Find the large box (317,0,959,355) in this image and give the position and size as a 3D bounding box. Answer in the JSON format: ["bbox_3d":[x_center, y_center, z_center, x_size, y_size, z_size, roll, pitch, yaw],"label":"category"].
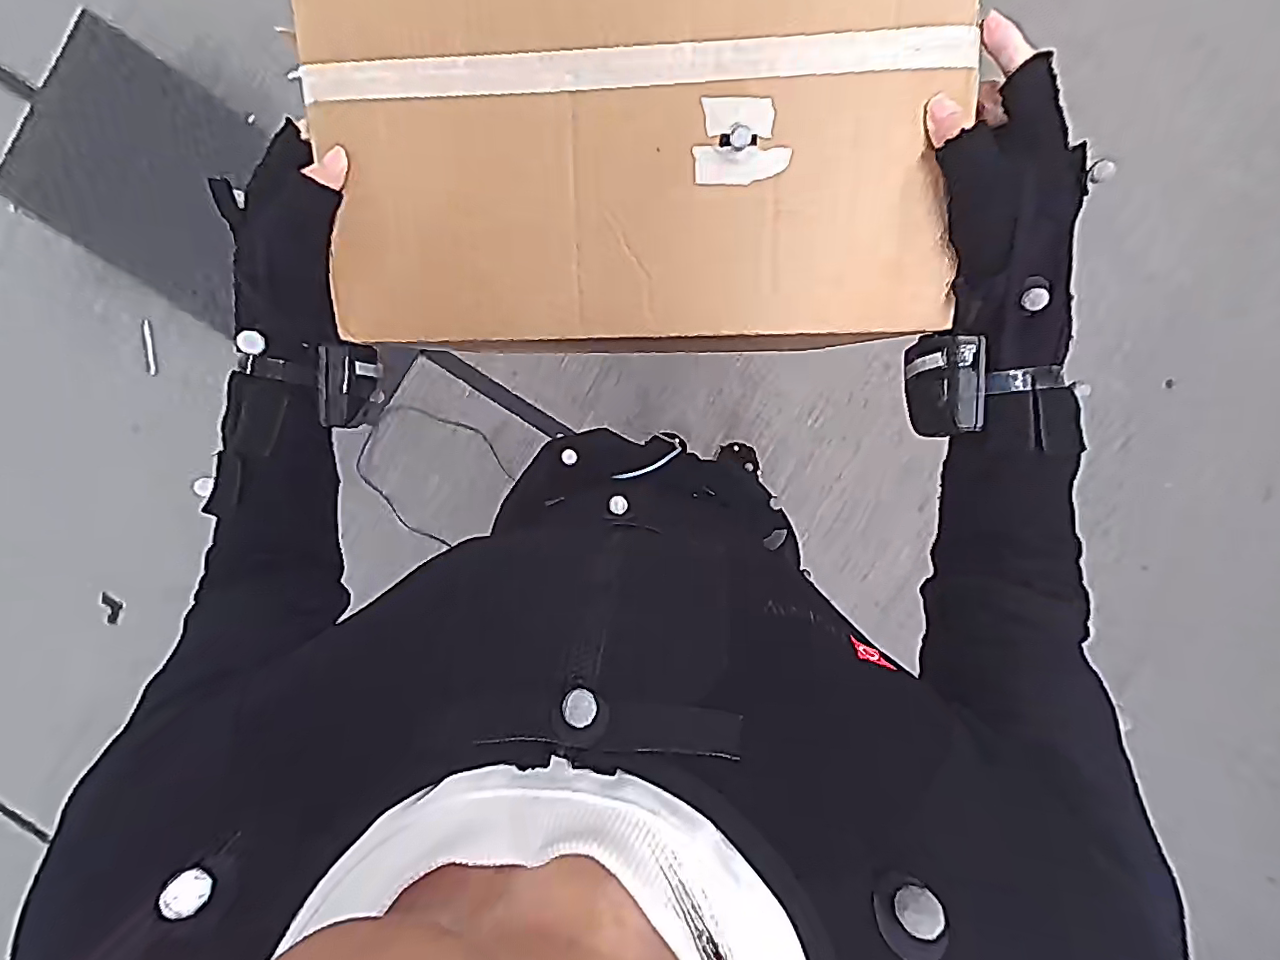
[{"bbox_3d":[0.000,-0.285,0.487,0.408,0.320,0.320,-2,102,3],"label":"large box"}]

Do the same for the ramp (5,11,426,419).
[{"bbox_3d":[-0.991,-0.632,1.375,0.991,0.206,0.509,33,94,0],"label":"ramp"}]
